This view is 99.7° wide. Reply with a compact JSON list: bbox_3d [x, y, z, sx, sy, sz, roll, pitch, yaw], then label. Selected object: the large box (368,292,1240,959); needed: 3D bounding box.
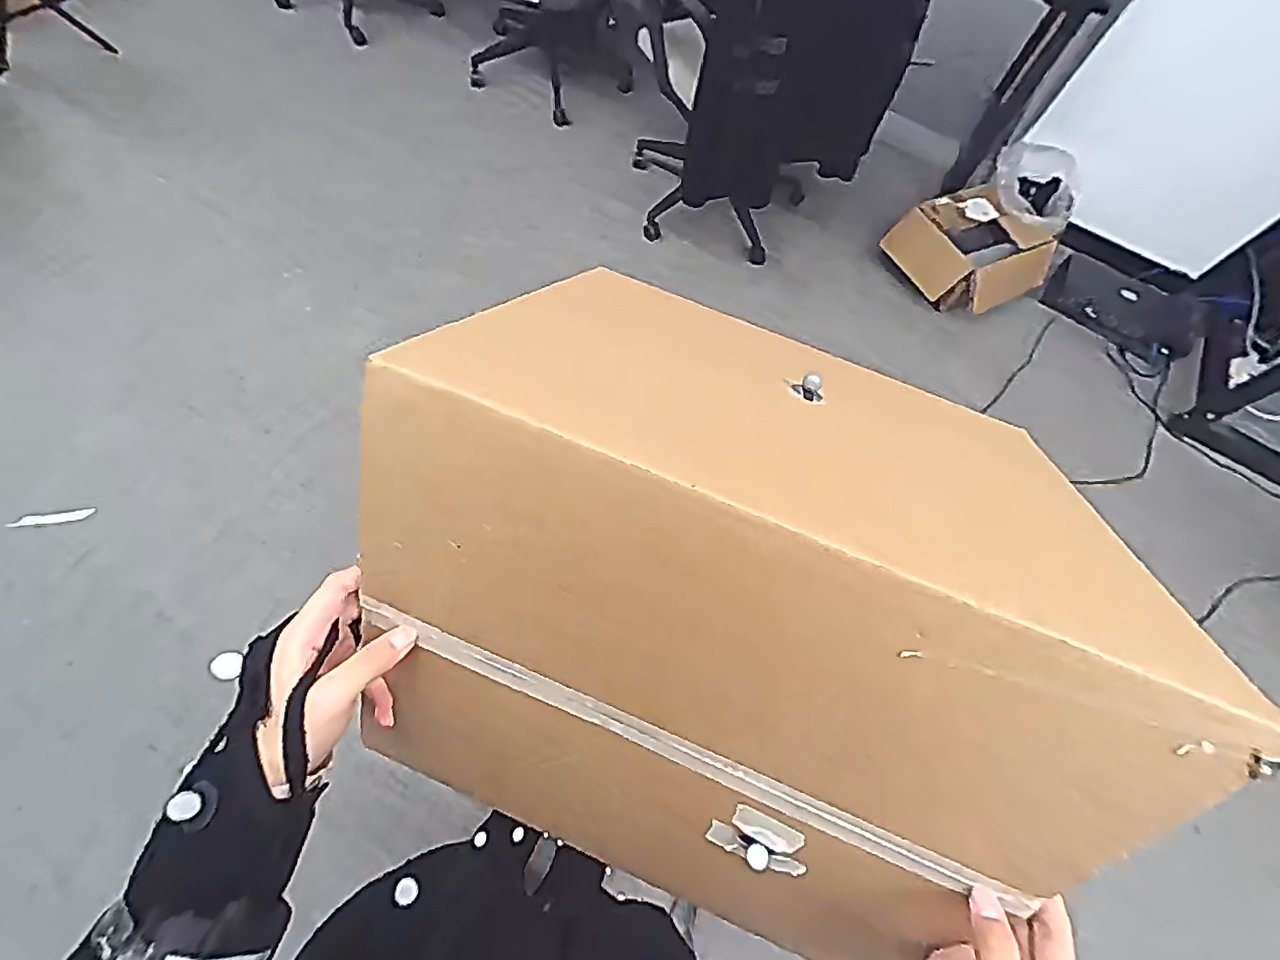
[{"bbox_3d":[0.057,0.078,0.439,0.408,0.320,0.320,21,33,4],"label":"large box"}]
